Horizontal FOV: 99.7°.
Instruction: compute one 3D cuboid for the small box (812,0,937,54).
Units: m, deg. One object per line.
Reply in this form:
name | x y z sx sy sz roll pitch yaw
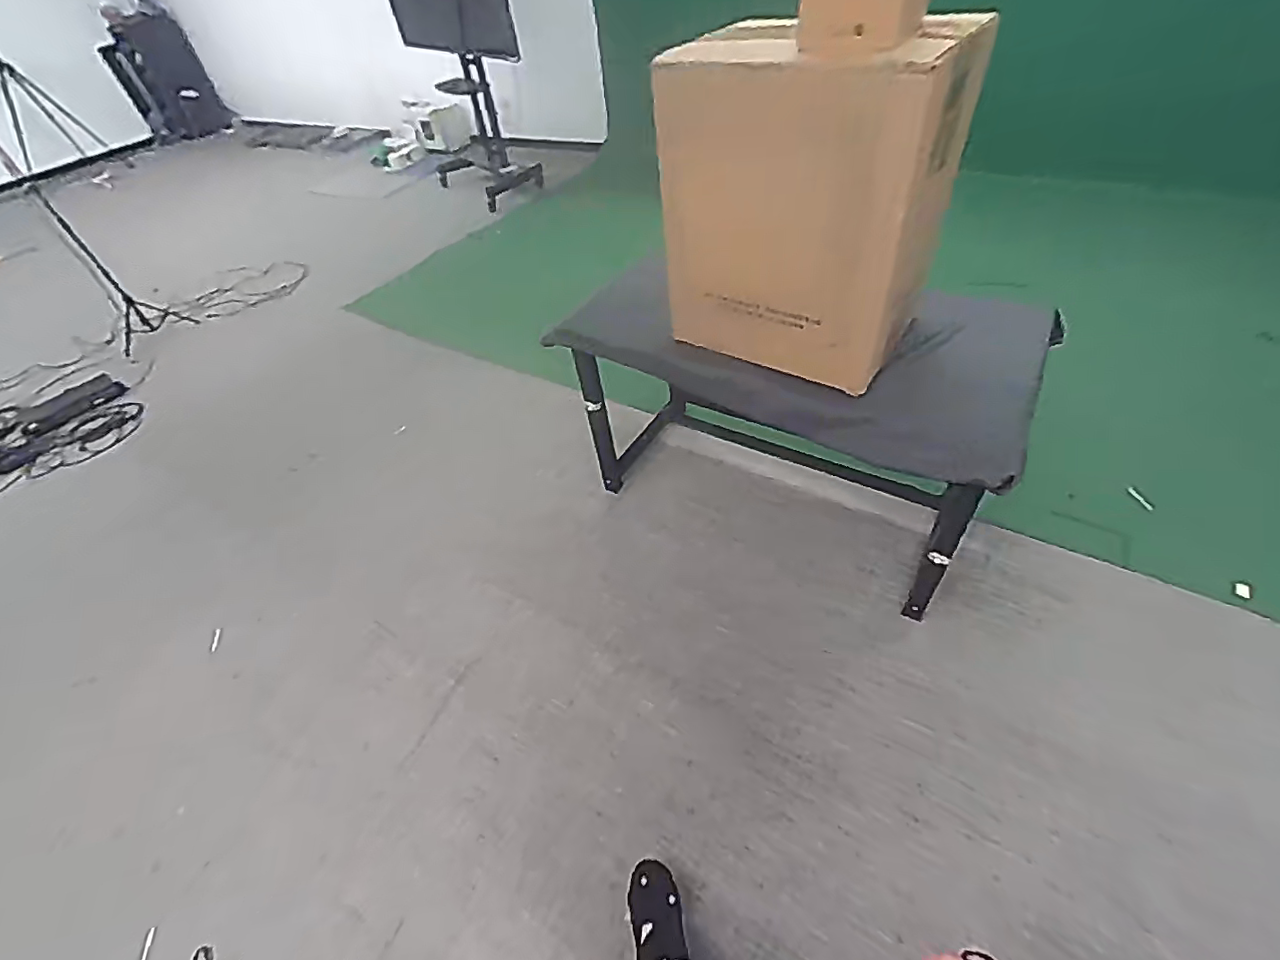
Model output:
small box | 0.393 -0.819 0.880 0.168 0.176 0.179 23 55 23
